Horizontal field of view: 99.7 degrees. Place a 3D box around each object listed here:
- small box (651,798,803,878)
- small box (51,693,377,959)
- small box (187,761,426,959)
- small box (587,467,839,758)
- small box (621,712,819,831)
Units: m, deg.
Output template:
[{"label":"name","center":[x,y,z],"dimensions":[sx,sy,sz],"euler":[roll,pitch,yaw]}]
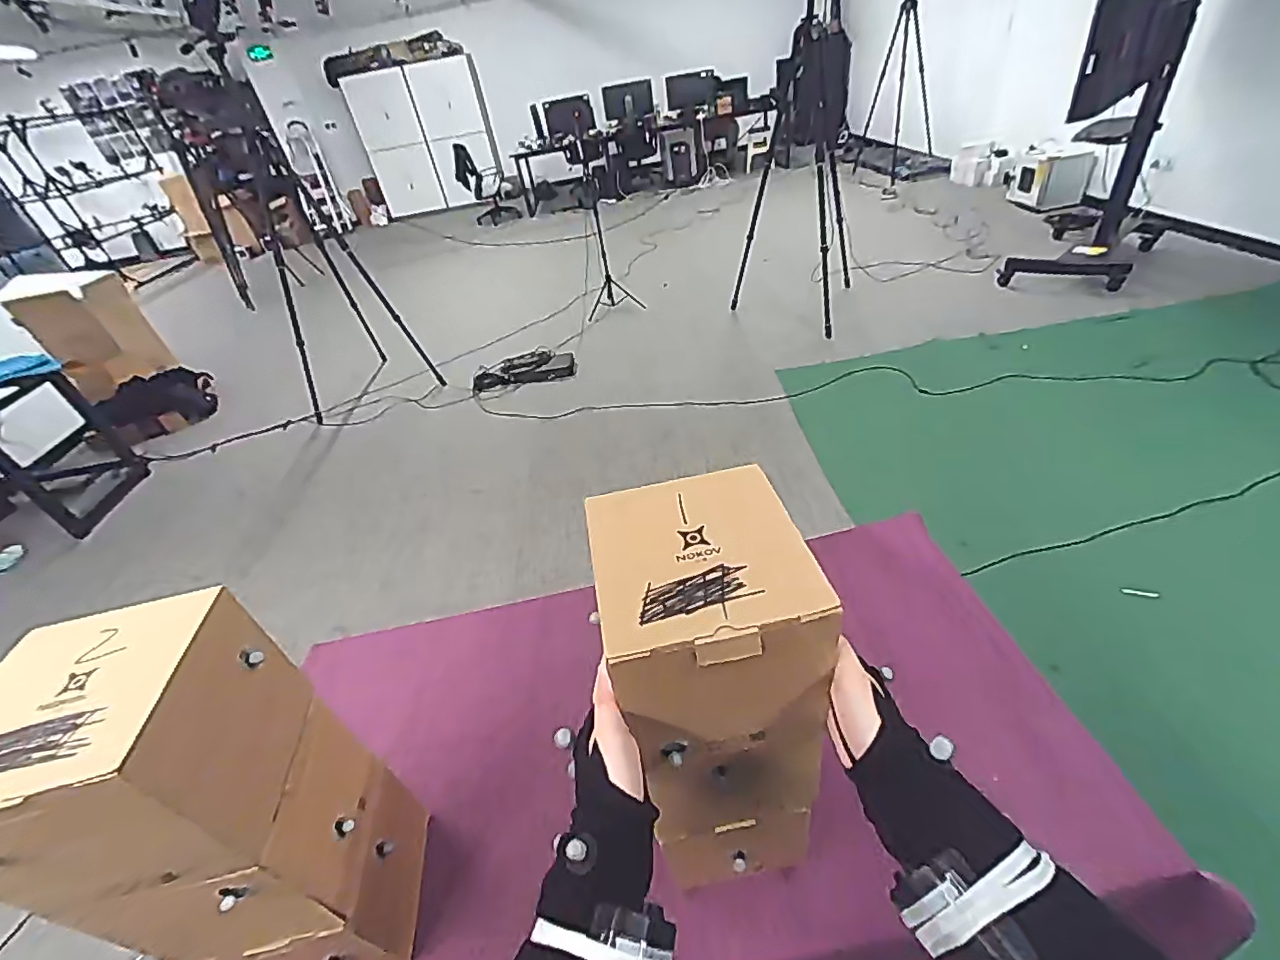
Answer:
[{"label":"small box","center":[0.097,0.374,0.684],"dimensions":[0.168,0.176,0.179],"euler":[-11,39,-1]},{"label":"small box","center":[-0.408,0.358,0.562],"dimensions":[0.179,0.176,0.168],"euler":[-12,38,-5]},{"label":"small box","center":[-0.380,0.484,0.661],"dimensions":[0.168,0.176,0.179],"euler":[-12,37,-3]},{"label":"small box","center":[0.054,0.118,0.475],"dimensions":[0.168,0.176,0.179],"euler":[-11,37,-4]},{"label":"small box","center":[0.076,0.246,0.581],"dimensions":[0.179,0.176,0.168],"euler":[-12,39,-2]}]
